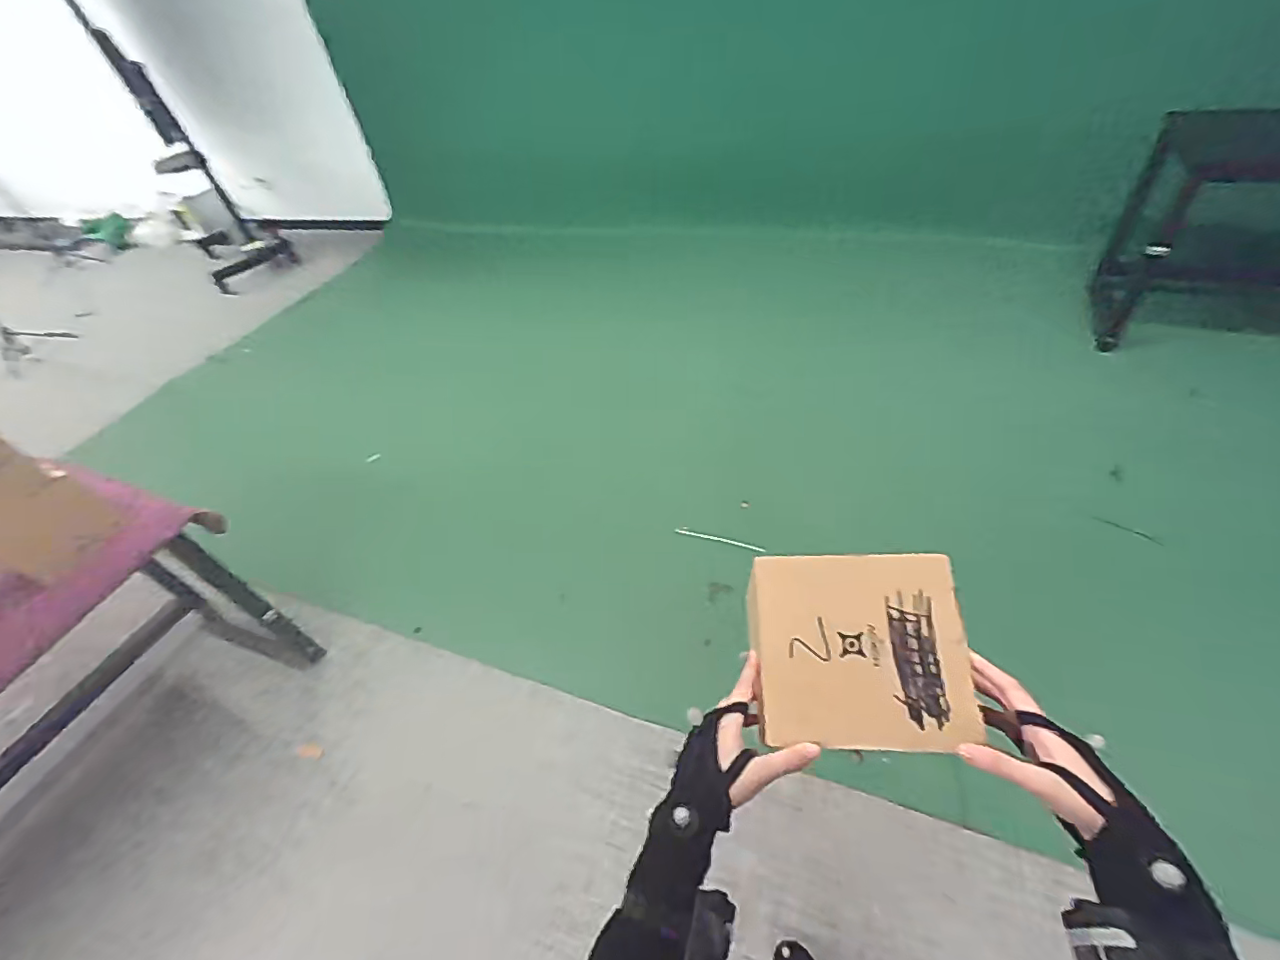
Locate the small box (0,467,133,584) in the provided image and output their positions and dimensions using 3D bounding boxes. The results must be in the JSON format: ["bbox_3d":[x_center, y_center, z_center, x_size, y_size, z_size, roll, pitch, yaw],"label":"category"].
[{"bbox_3d":[-1.246,0.092,1.149,0.168,0.176,0.179,8,49,19],"label":"small box"}]

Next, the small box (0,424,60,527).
[{"bbox_3d":[-1.281,-0.014,1.028,0.168,0.176,0.179,13,51,22],"label":"small box"}]
